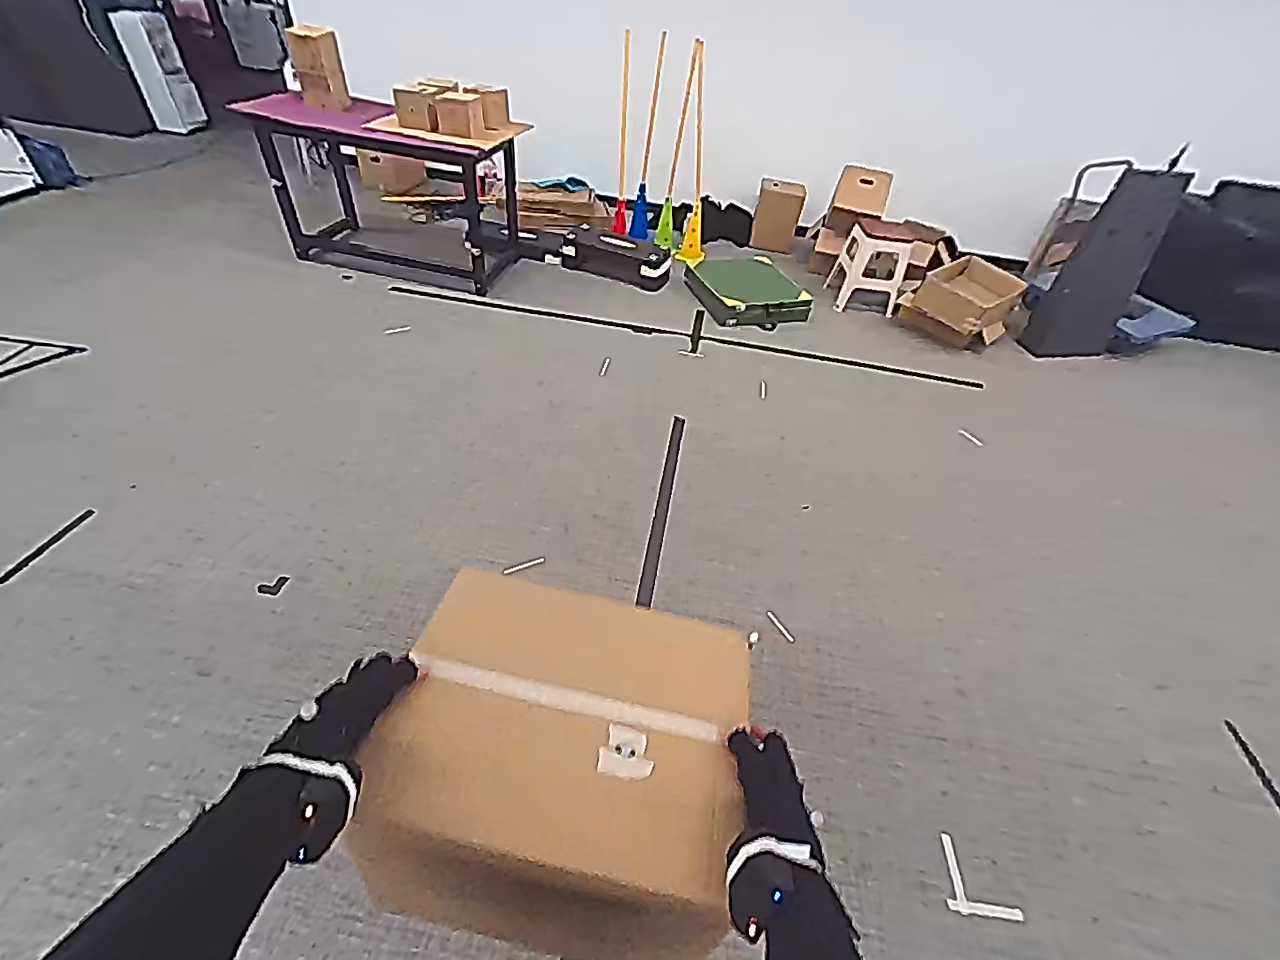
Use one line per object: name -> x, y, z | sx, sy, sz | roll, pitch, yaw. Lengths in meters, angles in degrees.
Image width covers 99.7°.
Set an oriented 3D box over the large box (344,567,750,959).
large box -> -0.096, 0.368, 0.714 | 0.408, 0.320, 0.320 | 14, 38, 1
